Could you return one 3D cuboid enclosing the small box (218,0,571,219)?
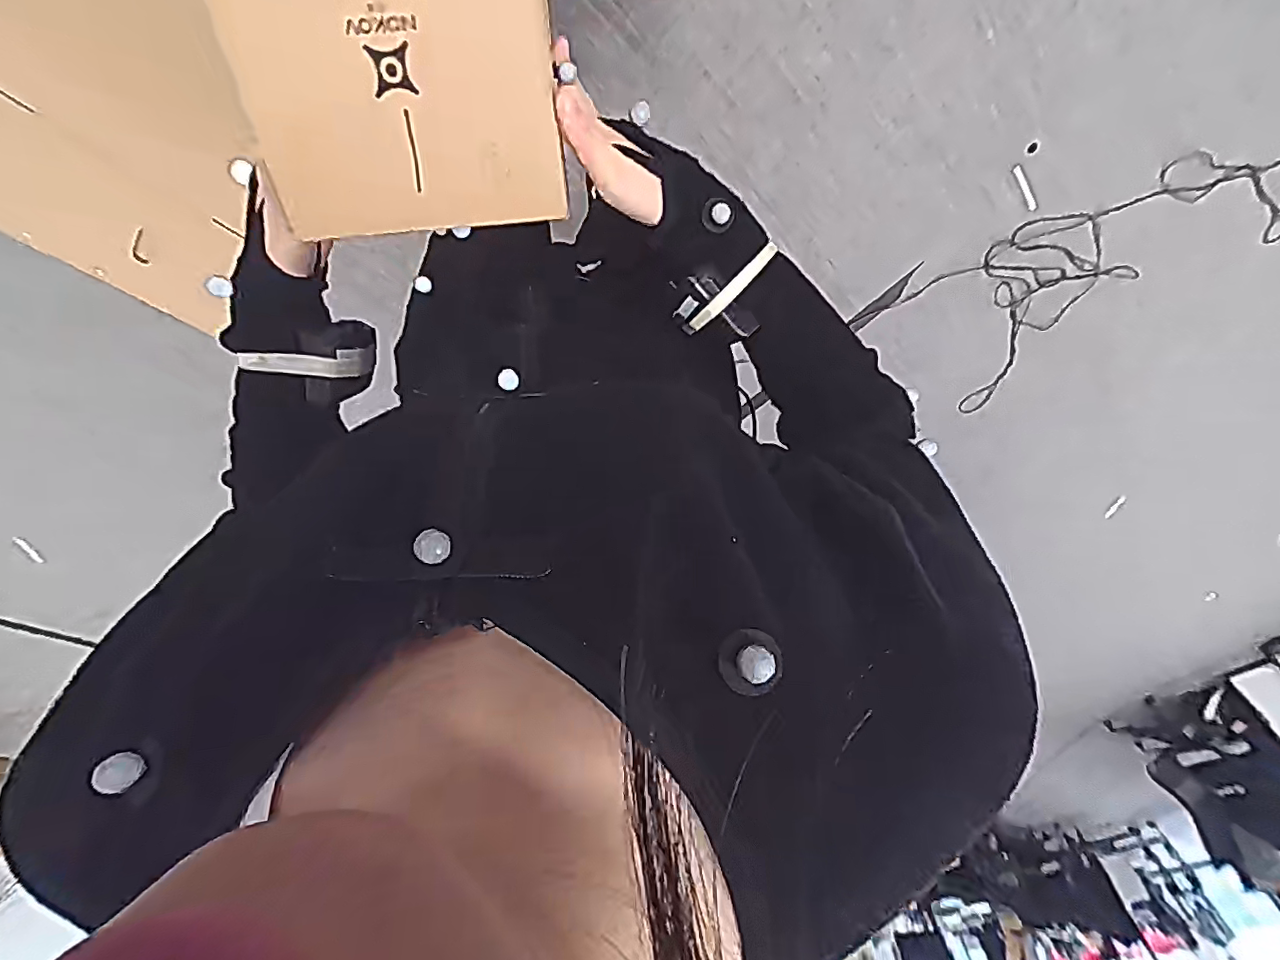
[{"bbox_3d":[-0.137,-0.276,0.349,0.168,0.176,0.179,-6,122,-3],"label":"small box"}]
